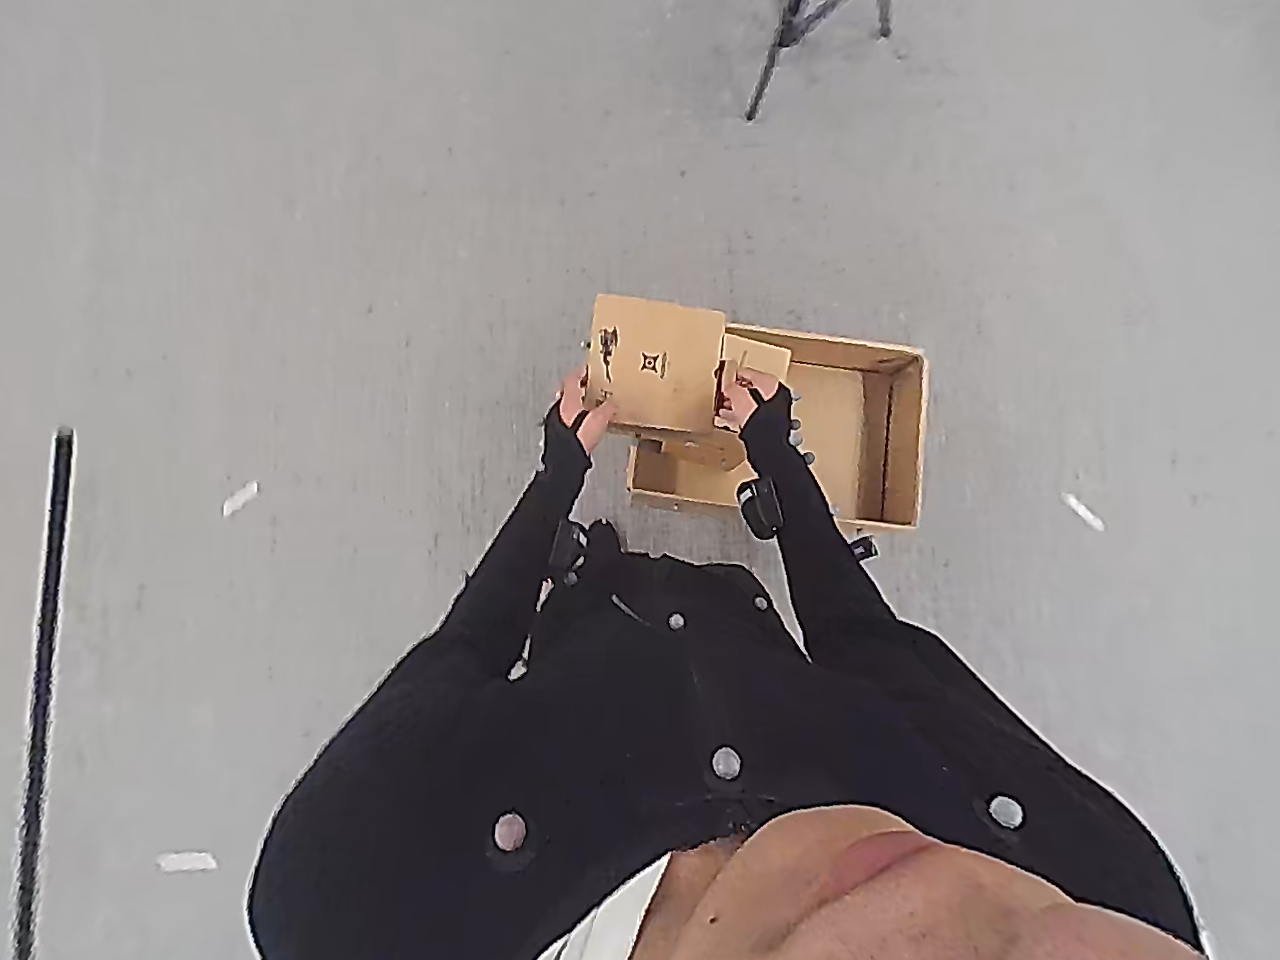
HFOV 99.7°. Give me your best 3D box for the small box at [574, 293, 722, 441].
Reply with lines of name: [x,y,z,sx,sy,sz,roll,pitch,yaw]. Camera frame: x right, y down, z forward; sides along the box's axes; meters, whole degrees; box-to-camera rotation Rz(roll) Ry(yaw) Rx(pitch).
small box: [0.003,-0.150,0.780,0.179,0.176,0.168,7,89,-9]

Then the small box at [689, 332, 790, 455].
small box: [0.165,-0.159,1.029,0.168,0.176,0.179,15,82,0]
